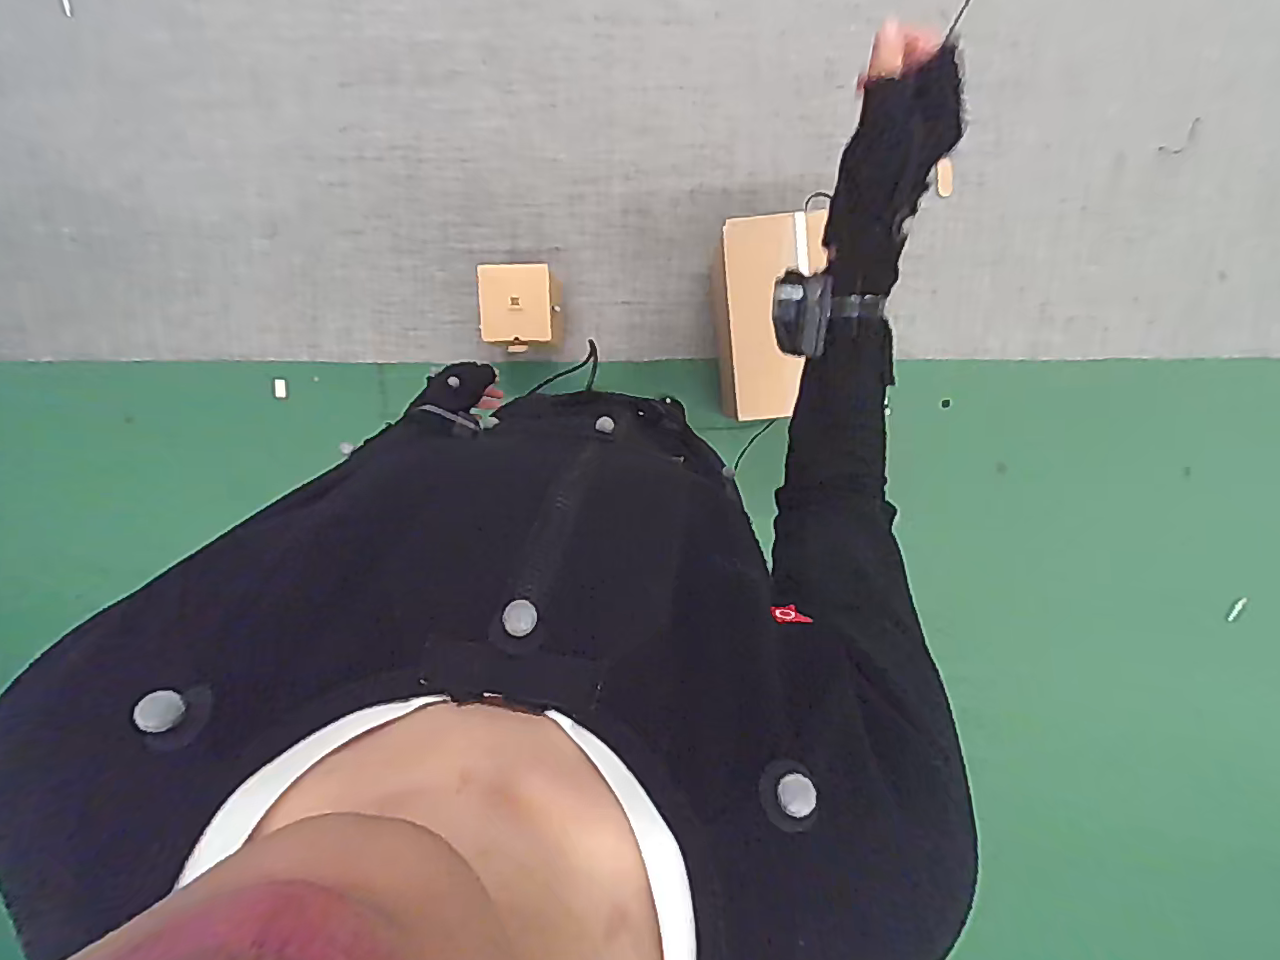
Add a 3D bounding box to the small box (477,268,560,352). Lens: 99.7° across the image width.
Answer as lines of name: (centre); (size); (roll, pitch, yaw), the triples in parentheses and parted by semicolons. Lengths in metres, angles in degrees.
small box: (-0.294, -0.415, 1.341); (0.168, 0.176, 0.179); (-1, 99, 1)
